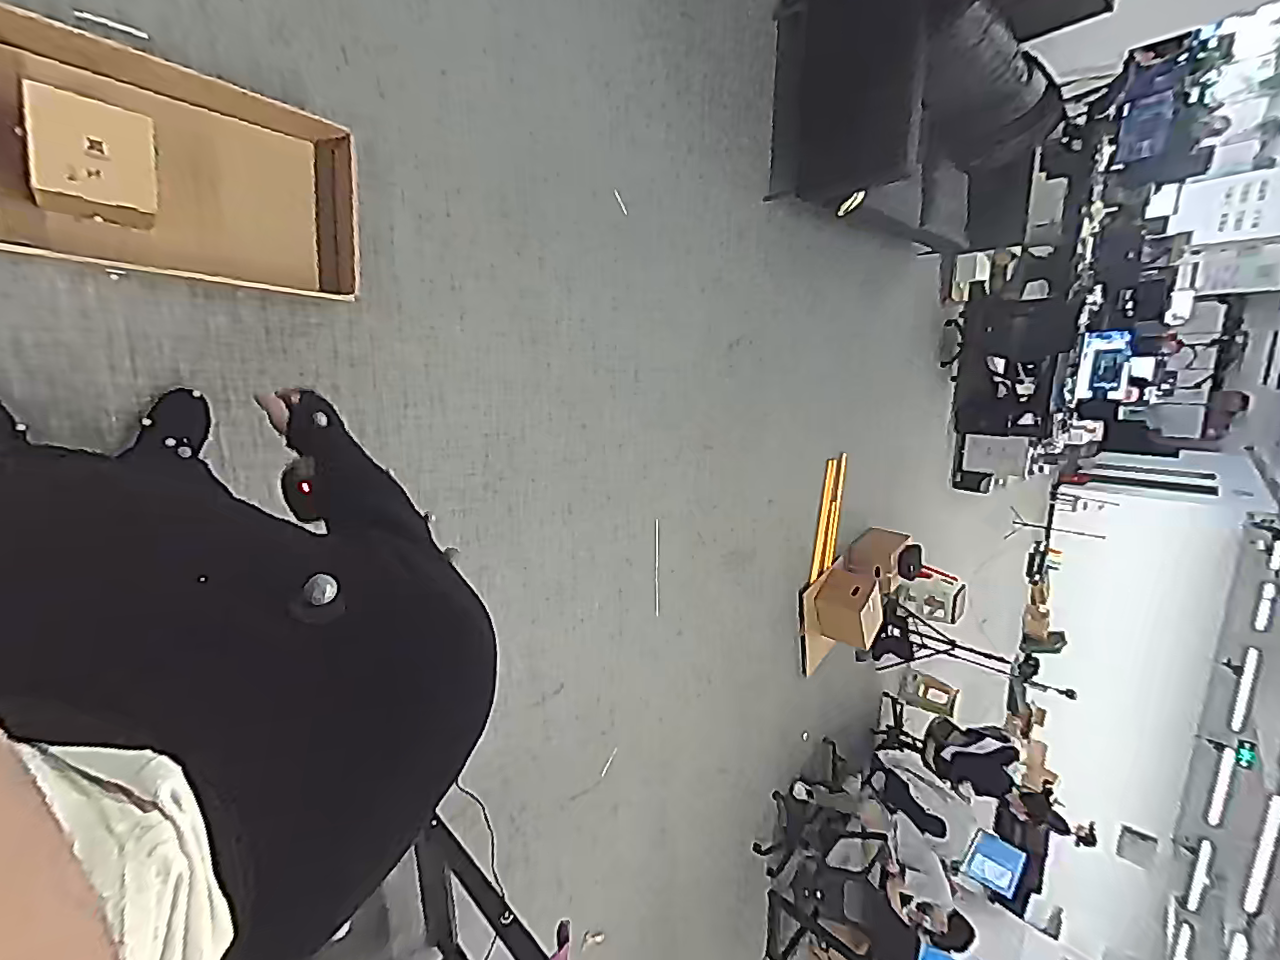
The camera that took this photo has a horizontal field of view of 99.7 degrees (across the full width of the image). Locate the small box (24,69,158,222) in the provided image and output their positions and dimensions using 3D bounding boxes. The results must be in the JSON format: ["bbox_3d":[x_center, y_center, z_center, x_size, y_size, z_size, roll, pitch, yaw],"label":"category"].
[{"bbox_3d":[-1.030,-0.613,1.019,0.168,0.176,0.179,-4,100,-45],"label":"small box"}]
